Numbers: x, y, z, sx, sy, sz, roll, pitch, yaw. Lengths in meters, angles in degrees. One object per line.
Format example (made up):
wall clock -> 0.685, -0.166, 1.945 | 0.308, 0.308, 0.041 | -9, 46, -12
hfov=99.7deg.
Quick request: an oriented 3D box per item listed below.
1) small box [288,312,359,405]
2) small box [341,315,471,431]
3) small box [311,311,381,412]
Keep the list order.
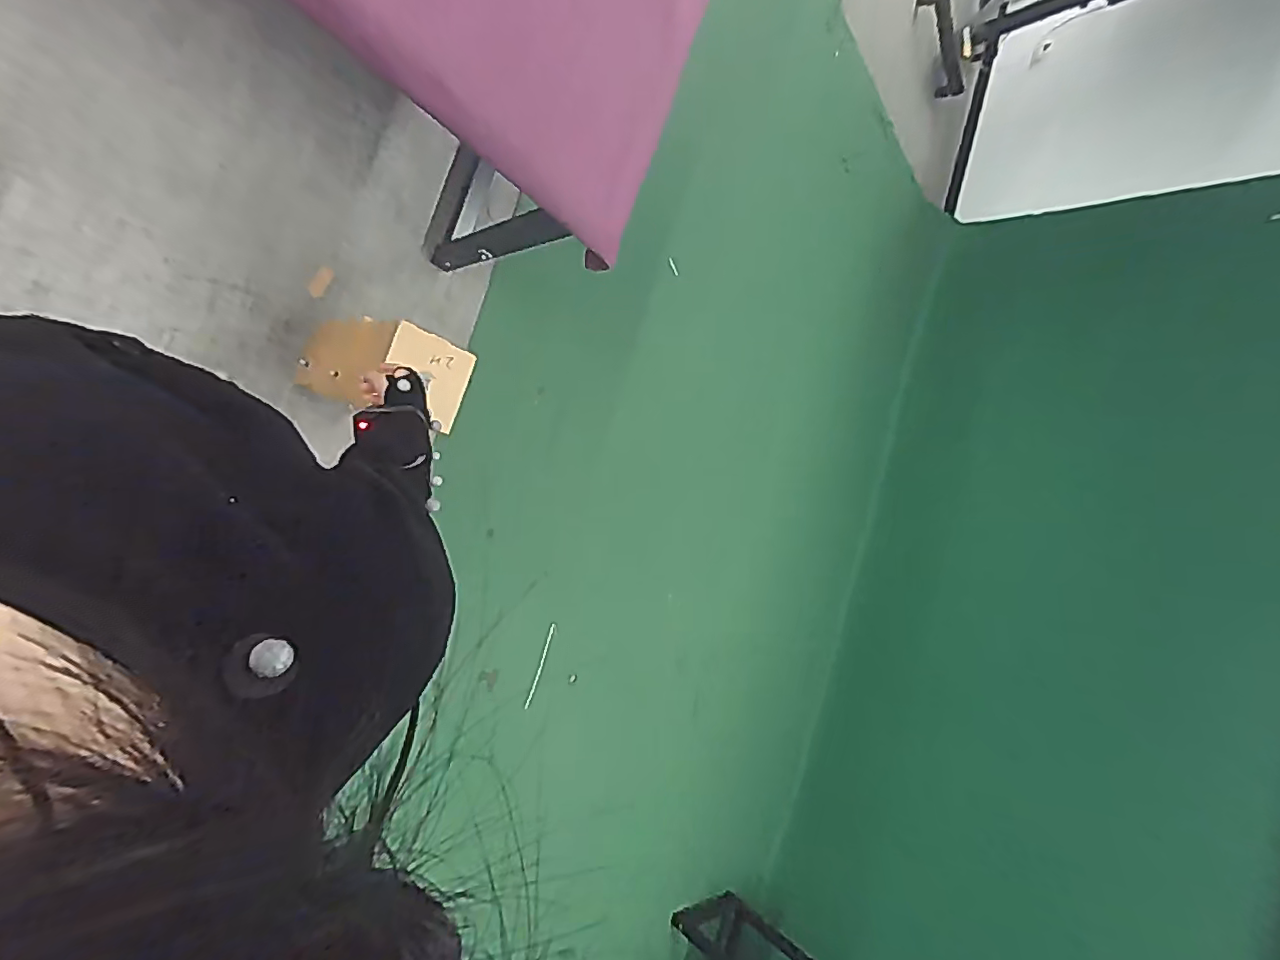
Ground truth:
small box -> -0.720, -0.285, 1.314 | 0.179, 0.176, 0.168 | 26, 80, -46
small box -> -0.481, -0.216, 1.101 | 0.168, 0.176, 0.179 | 23, 83, -46
small box -> -0.603, -0.257, 1.205 | 0.168, 0.176, 0.179 | 22, 84, -46
